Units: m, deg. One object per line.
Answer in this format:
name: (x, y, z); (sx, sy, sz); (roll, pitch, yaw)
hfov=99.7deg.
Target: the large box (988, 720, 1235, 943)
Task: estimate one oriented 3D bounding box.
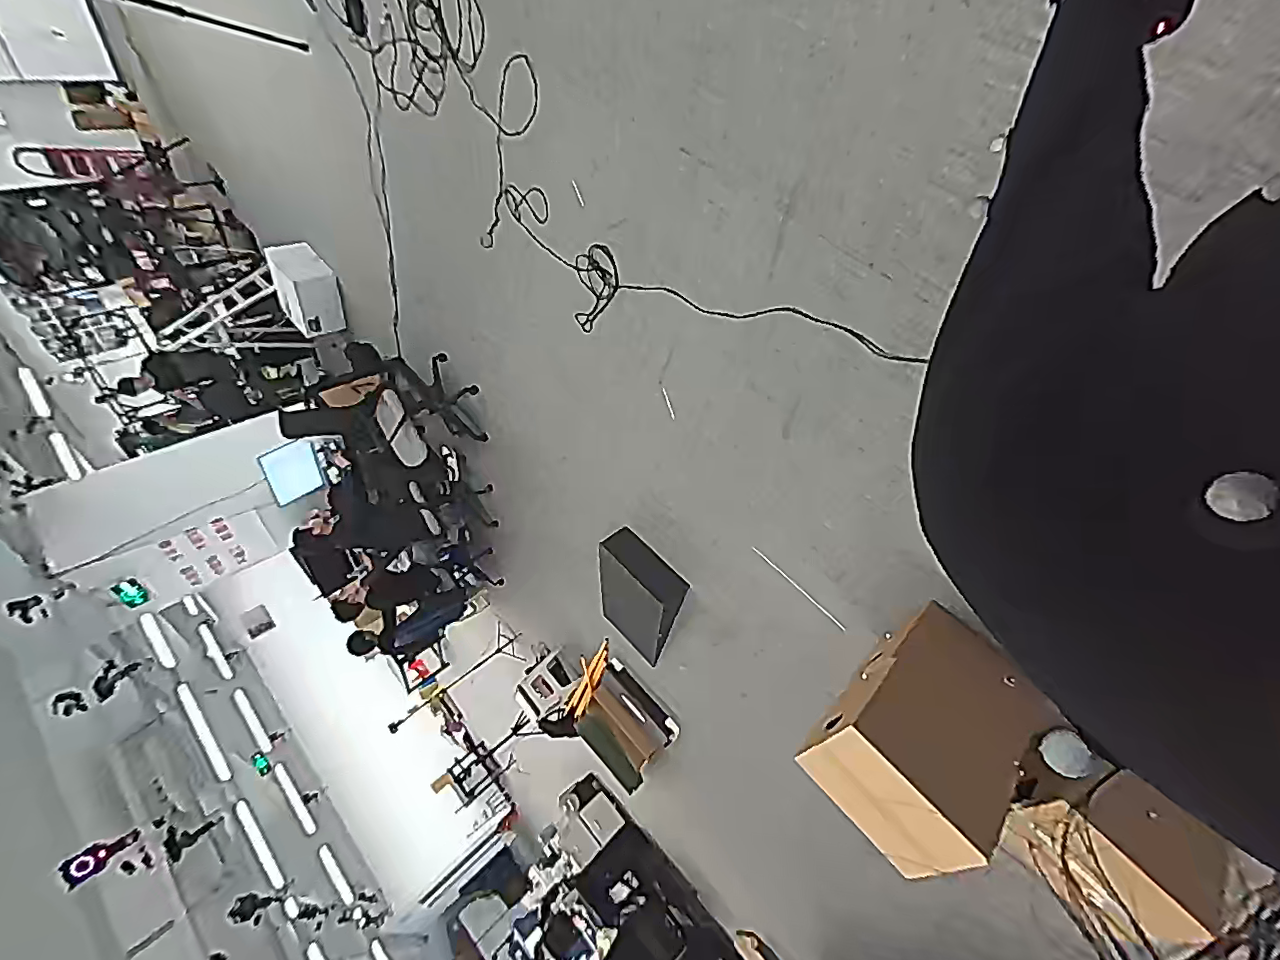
large box: (1.306, 0.973, 1.519); (0.408, 0.320, 0.320); (43, 144, 19)
